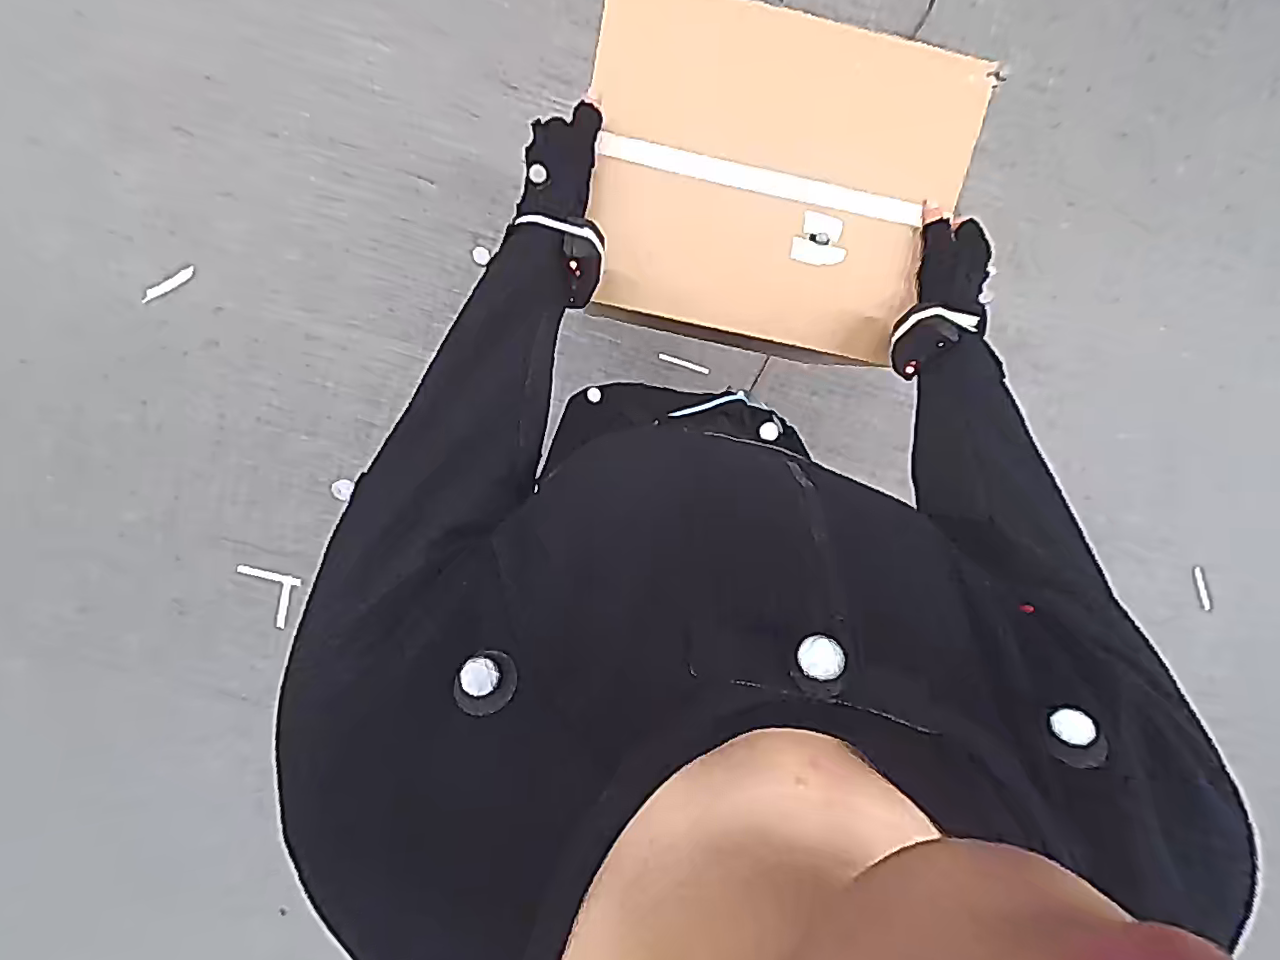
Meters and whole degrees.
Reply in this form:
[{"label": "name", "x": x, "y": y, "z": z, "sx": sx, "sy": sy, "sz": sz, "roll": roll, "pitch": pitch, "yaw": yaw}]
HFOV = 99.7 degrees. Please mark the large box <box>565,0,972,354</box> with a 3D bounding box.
[{"label": "large box", "x": 0.128, "y": -0.362, "z": 0.739, "sx": 0.408, "sy": 0.320, "sz": 0.320, "roll": 10, "pitch": 104, "yaw": -4}]
